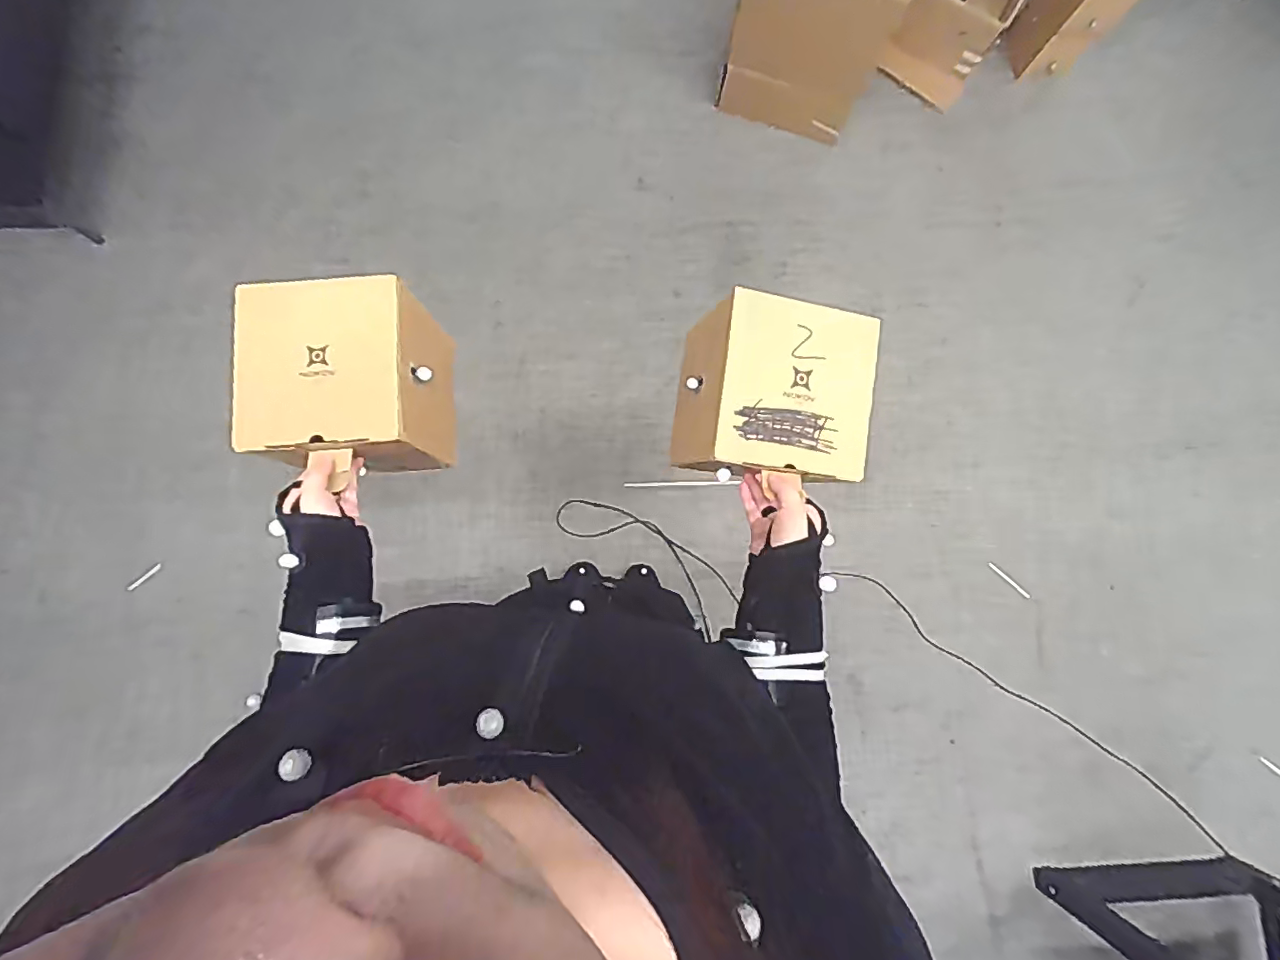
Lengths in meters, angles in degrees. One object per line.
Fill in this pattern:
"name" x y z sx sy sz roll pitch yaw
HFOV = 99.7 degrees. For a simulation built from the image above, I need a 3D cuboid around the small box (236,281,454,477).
"small box" -0.321 -0.104 0.622 0.168 0.176 0.179 -4 83 -2
